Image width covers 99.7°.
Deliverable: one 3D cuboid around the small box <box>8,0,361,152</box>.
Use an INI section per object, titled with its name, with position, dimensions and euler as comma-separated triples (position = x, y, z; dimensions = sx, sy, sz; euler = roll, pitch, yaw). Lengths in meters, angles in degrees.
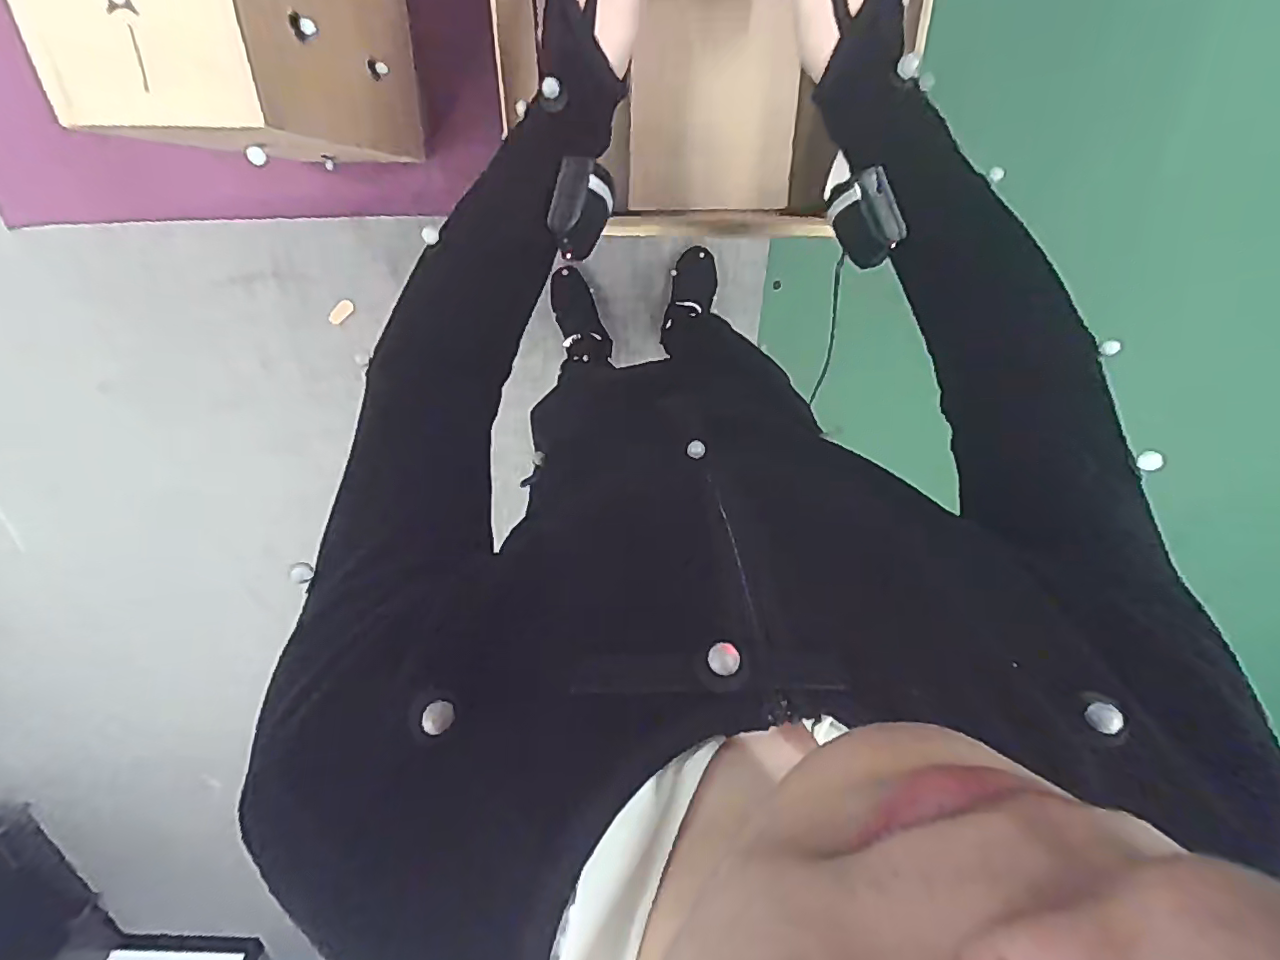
[small box]
position = -0.364, -0.386, 0.450
dimensions = 0.168, 0.176, 0.179
euler = 2, 117, 1
